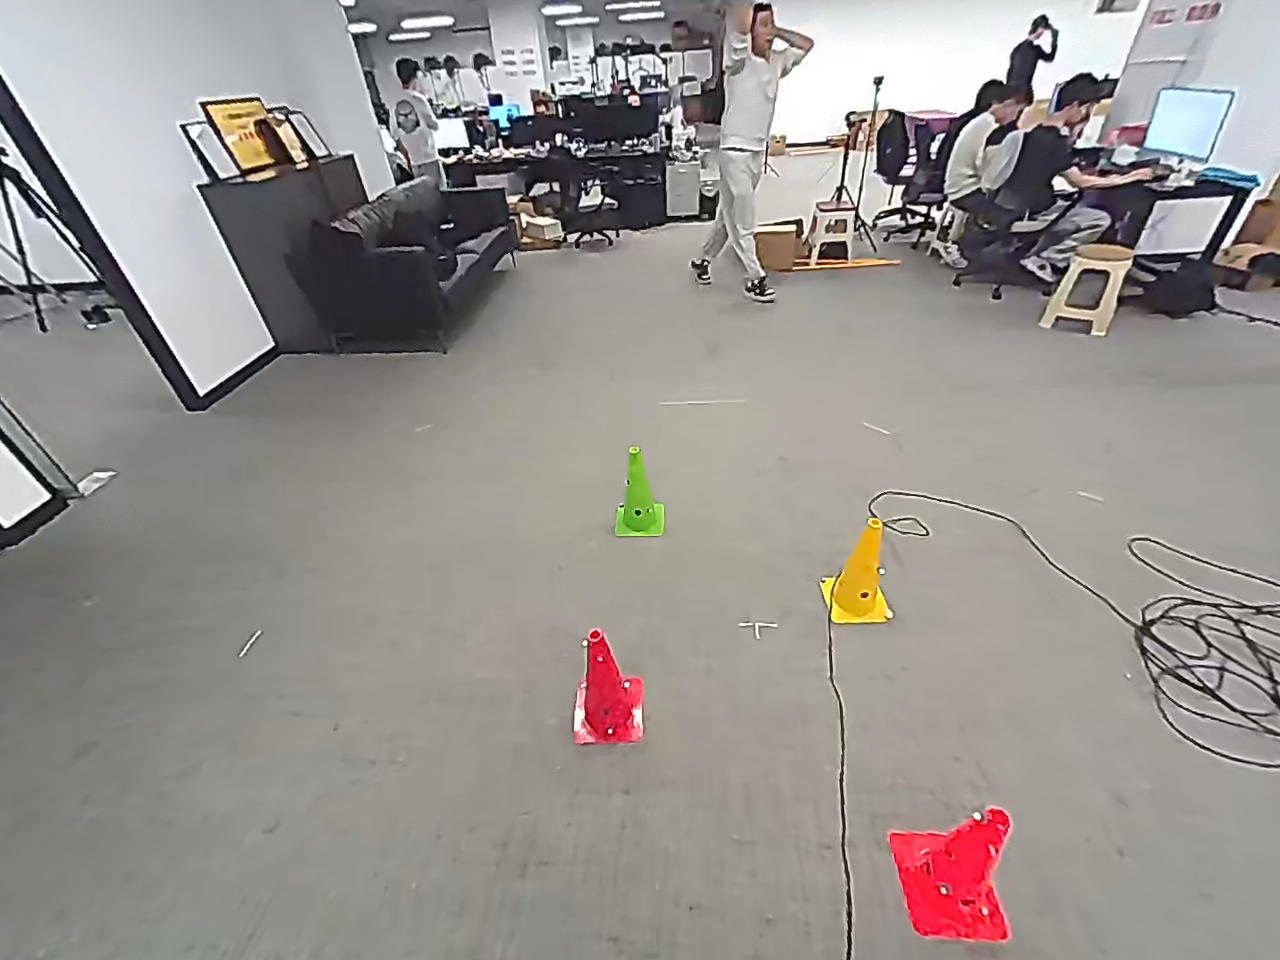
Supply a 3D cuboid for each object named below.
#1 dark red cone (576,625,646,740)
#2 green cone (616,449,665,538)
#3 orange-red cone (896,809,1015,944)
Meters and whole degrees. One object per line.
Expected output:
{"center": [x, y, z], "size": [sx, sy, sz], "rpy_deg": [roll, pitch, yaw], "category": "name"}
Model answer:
{"center": [-0.094, 0.530, 1.475], "size": [0.202, 0.394, 0.201], "rpy_deg": [-4, 38, 1], "category": "dark red cone"}
{"center": [-0.005, 0.039, 2.160], "size": [0.202, 0.368, 0.200], "rpy_deg": [-1, 37, 3], "category": "green cone"}
{"center": [0.684, 0.768, 1.107], "size": [0.198, 0.360, 0.199], "rpy_deg": [0, 36, 5], "category": "orange-red cone"}
